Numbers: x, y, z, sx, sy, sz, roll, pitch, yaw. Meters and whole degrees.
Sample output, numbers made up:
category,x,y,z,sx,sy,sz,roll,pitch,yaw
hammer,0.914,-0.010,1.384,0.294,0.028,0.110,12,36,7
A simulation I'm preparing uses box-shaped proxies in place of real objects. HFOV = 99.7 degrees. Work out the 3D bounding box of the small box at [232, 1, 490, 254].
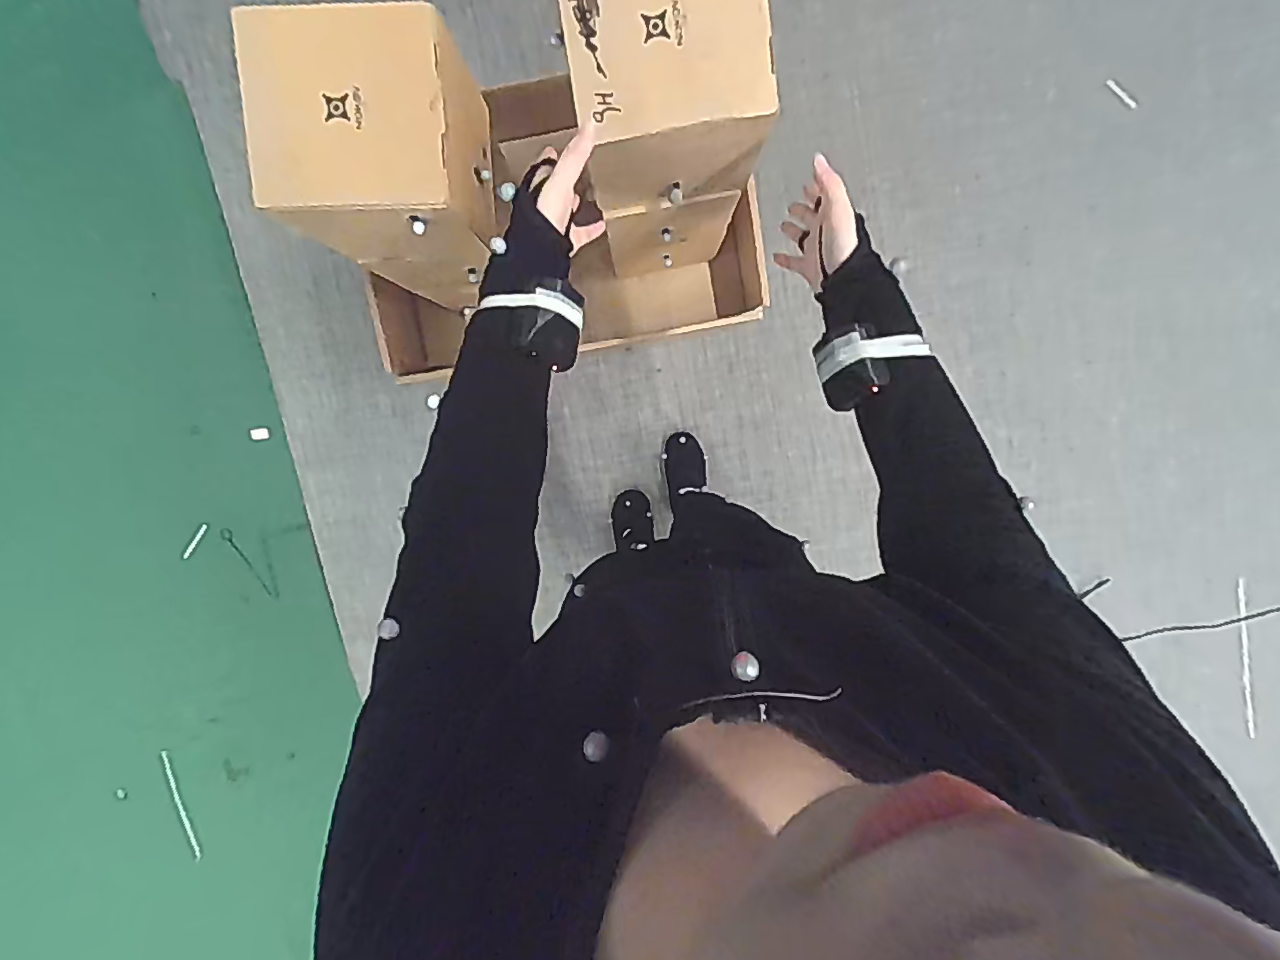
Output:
category,x,y,z,sx,sy,sz,roll,pitch,yaw
small box,-0.265,-0.339,0.554,0.179,0.176,0.168,-1,98,-1

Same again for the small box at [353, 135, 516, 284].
category,x,y,z,sx,sy,sz,roll,pitch,yaw
small box,-0.268,-0.365,0.715,0.168,0.176,0.179,-4,97,1

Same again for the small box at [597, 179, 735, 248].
category,x,y,z,sx,sy,sz,roll,pitch,yaw
small box,0.022,-0.414,0.698,0.168,0.176,0.179,-9,98,2

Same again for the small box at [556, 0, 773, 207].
category,x,y,z,sx,sy,sz,roll,pitch,yaw
small box,0.020,-0.393,0.535,0.179,0.176,0.168,-8,98,2
